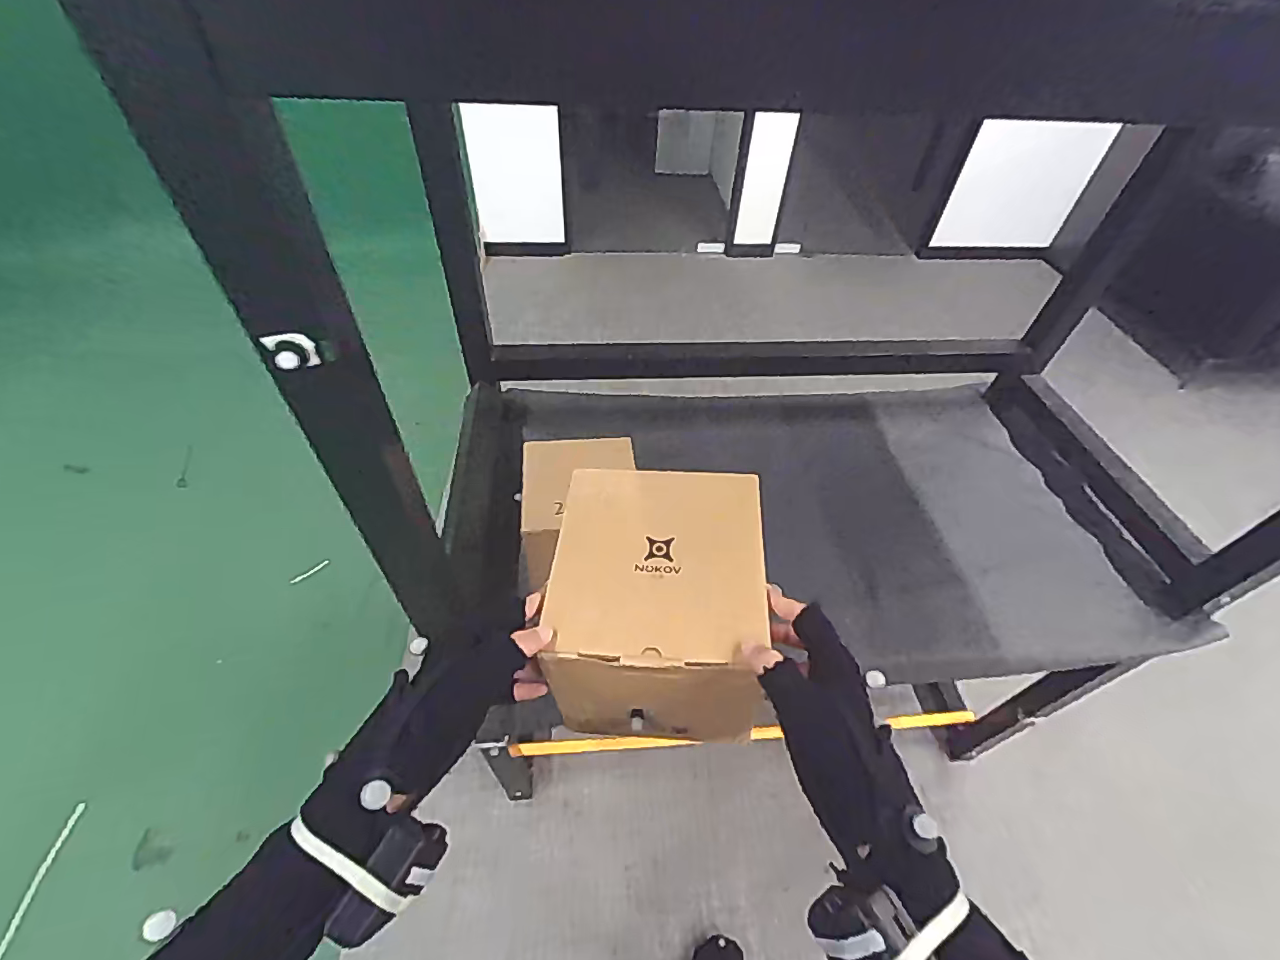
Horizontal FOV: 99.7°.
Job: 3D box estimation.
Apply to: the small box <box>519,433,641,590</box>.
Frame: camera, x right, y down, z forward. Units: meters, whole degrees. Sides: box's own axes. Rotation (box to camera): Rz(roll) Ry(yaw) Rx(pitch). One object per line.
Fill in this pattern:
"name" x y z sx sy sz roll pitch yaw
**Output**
"small box" -0.093 0.048 0.836 0.168 0.176 0.179 -4 48 -6
